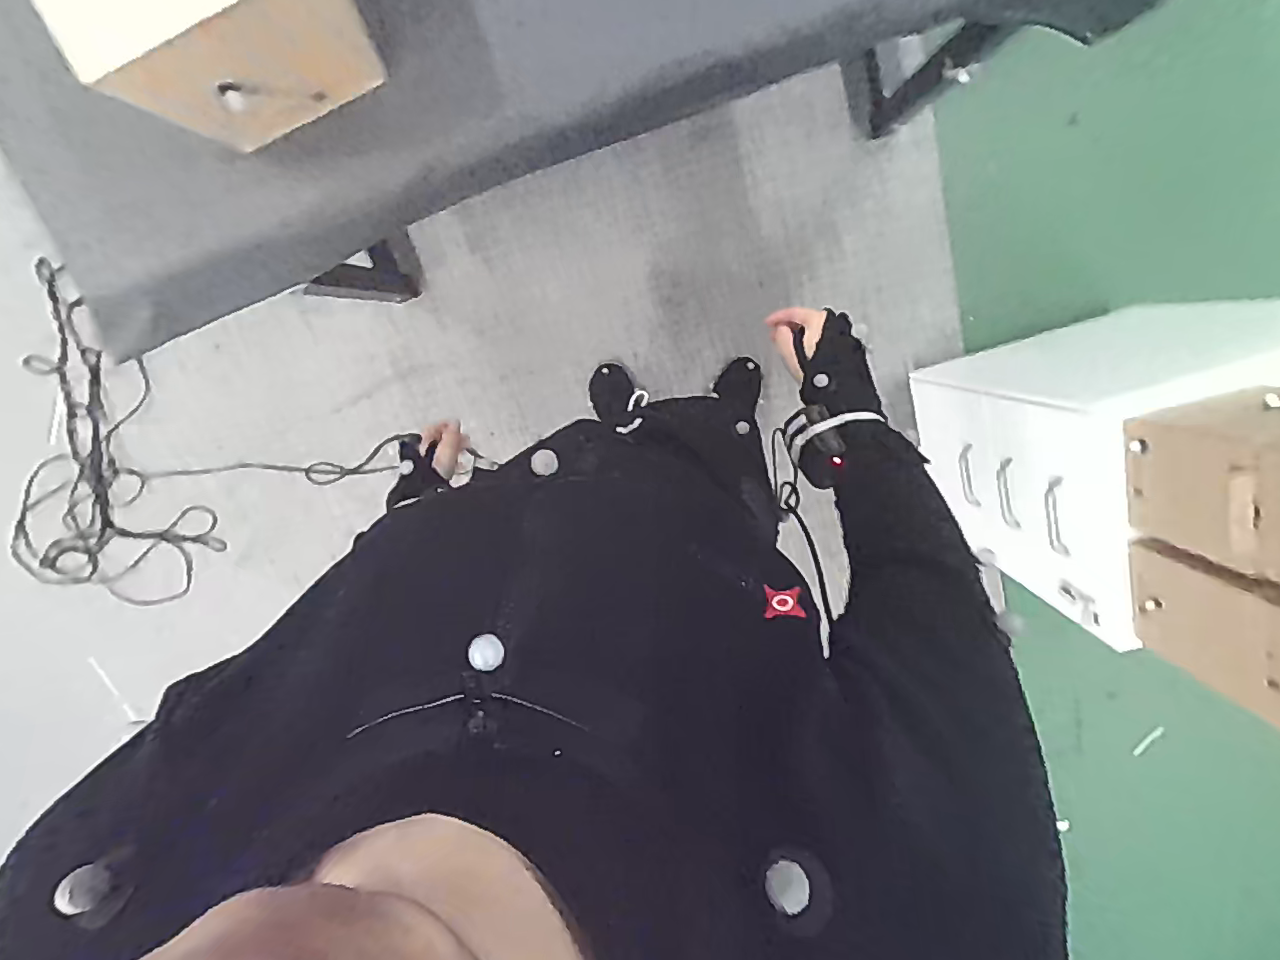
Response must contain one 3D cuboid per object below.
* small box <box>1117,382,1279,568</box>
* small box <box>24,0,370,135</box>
[{"bbox_3d":[0.744,-0.016,0.675,0.179,0.176,0.168,-17,106,4],"label":"small box"},{"bbox_3d":[-0.357,-0.409,0.430,0.168,0.176,0.179,-22,104,6],"label":"small box"}]
